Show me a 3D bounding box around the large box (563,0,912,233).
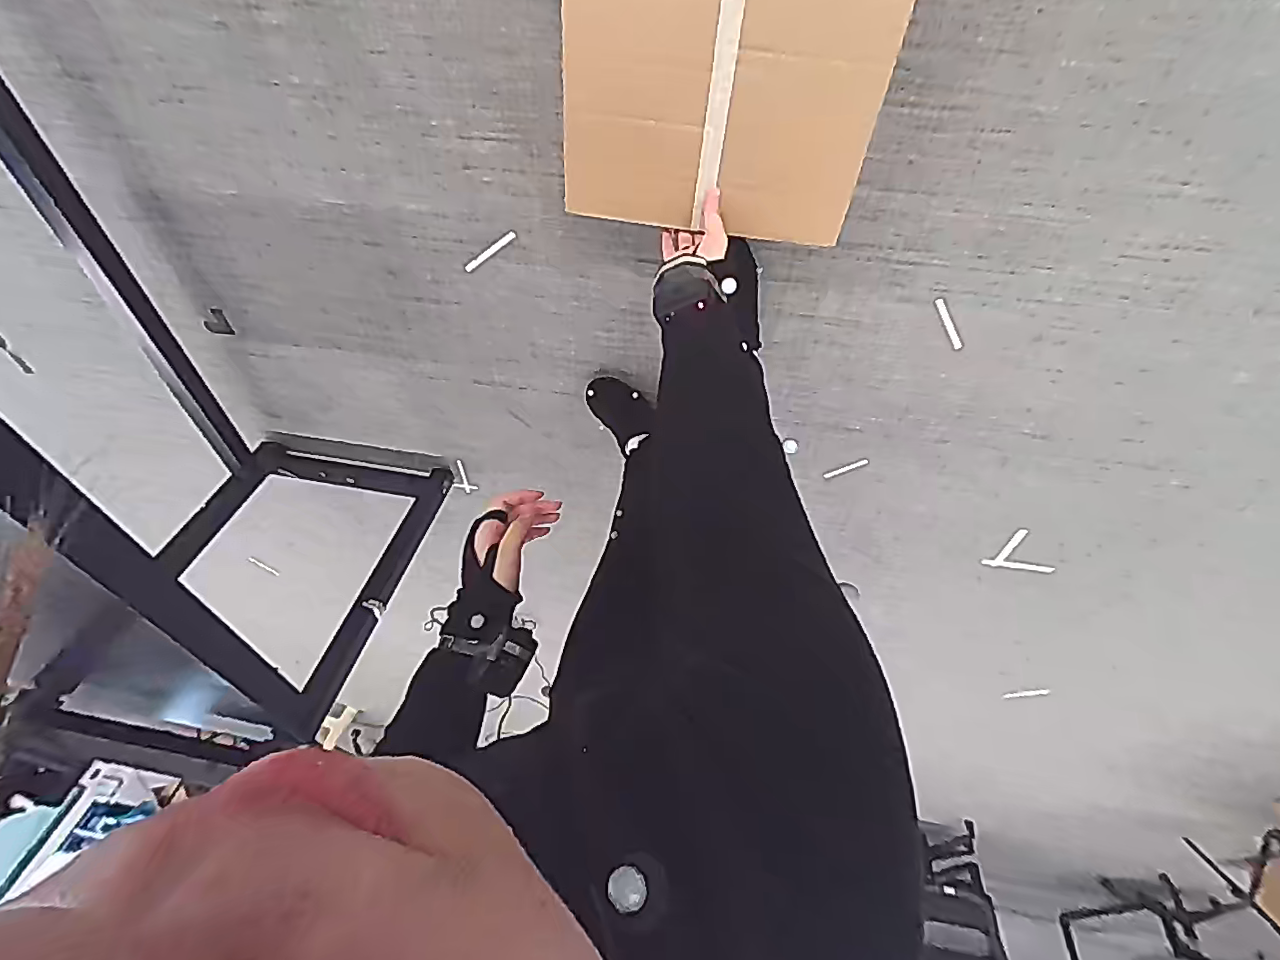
[{"bbox_3d":[0.106,-0.533,0.578,0.320,0.320,0.408,9,133,3],"label":"large box"}]
